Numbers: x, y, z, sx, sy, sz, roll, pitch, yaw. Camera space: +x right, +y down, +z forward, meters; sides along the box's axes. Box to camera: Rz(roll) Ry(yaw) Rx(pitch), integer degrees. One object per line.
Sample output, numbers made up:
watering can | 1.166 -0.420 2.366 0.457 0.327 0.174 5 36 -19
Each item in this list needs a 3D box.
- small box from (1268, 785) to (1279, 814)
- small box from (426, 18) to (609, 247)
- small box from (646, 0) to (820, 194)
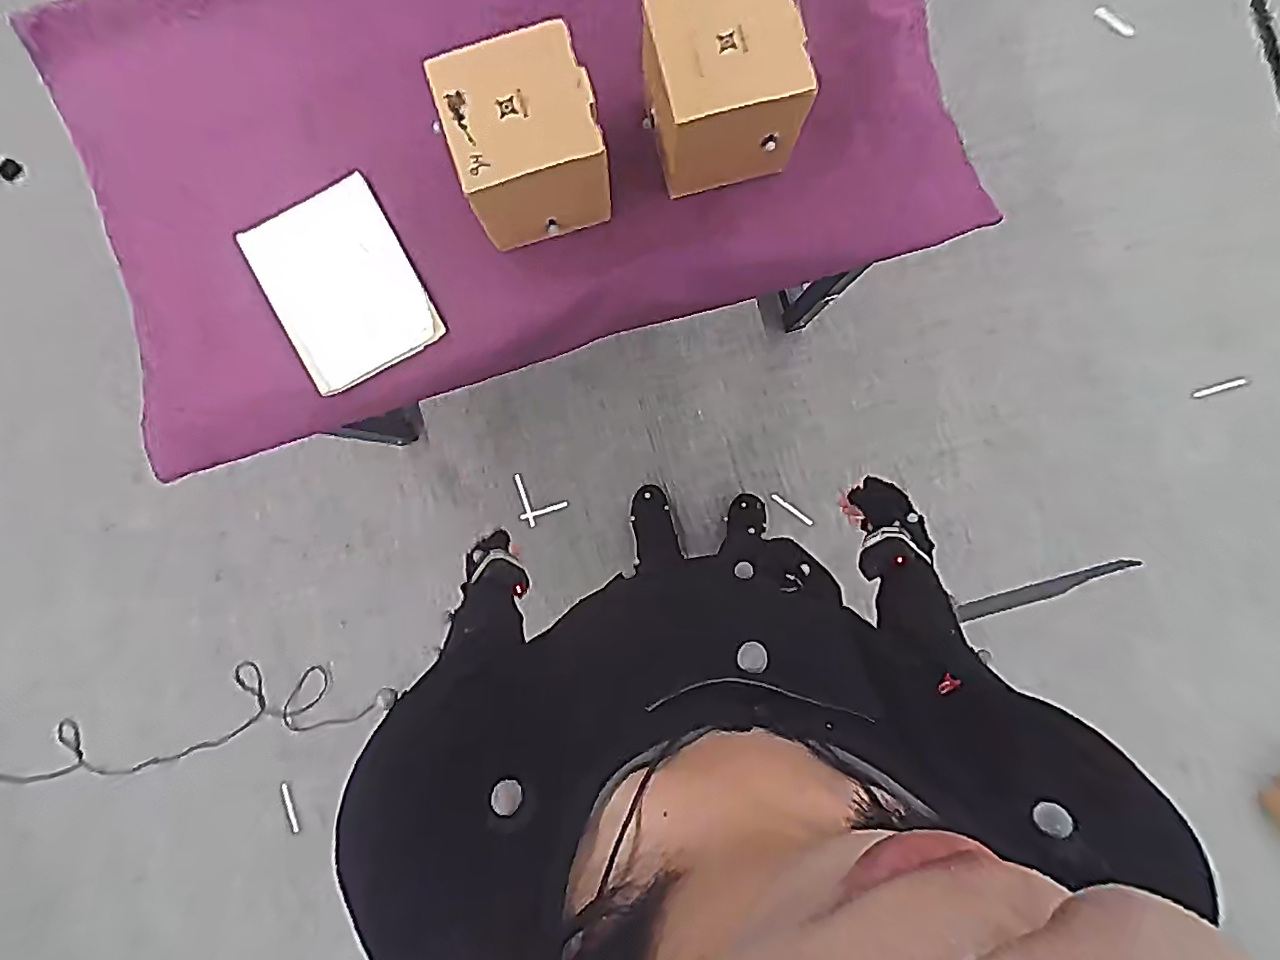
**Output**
small box | 1.879 0.910 1.442 0.168 0.176 0.179 -39 89 -1
small box | -0.145 -0.435 0.706 0.179 0.176 0.168 -17 89 -1
small box | 0.109 -0.514 0.709 0.179 0.176 0.168 -14 88 1
